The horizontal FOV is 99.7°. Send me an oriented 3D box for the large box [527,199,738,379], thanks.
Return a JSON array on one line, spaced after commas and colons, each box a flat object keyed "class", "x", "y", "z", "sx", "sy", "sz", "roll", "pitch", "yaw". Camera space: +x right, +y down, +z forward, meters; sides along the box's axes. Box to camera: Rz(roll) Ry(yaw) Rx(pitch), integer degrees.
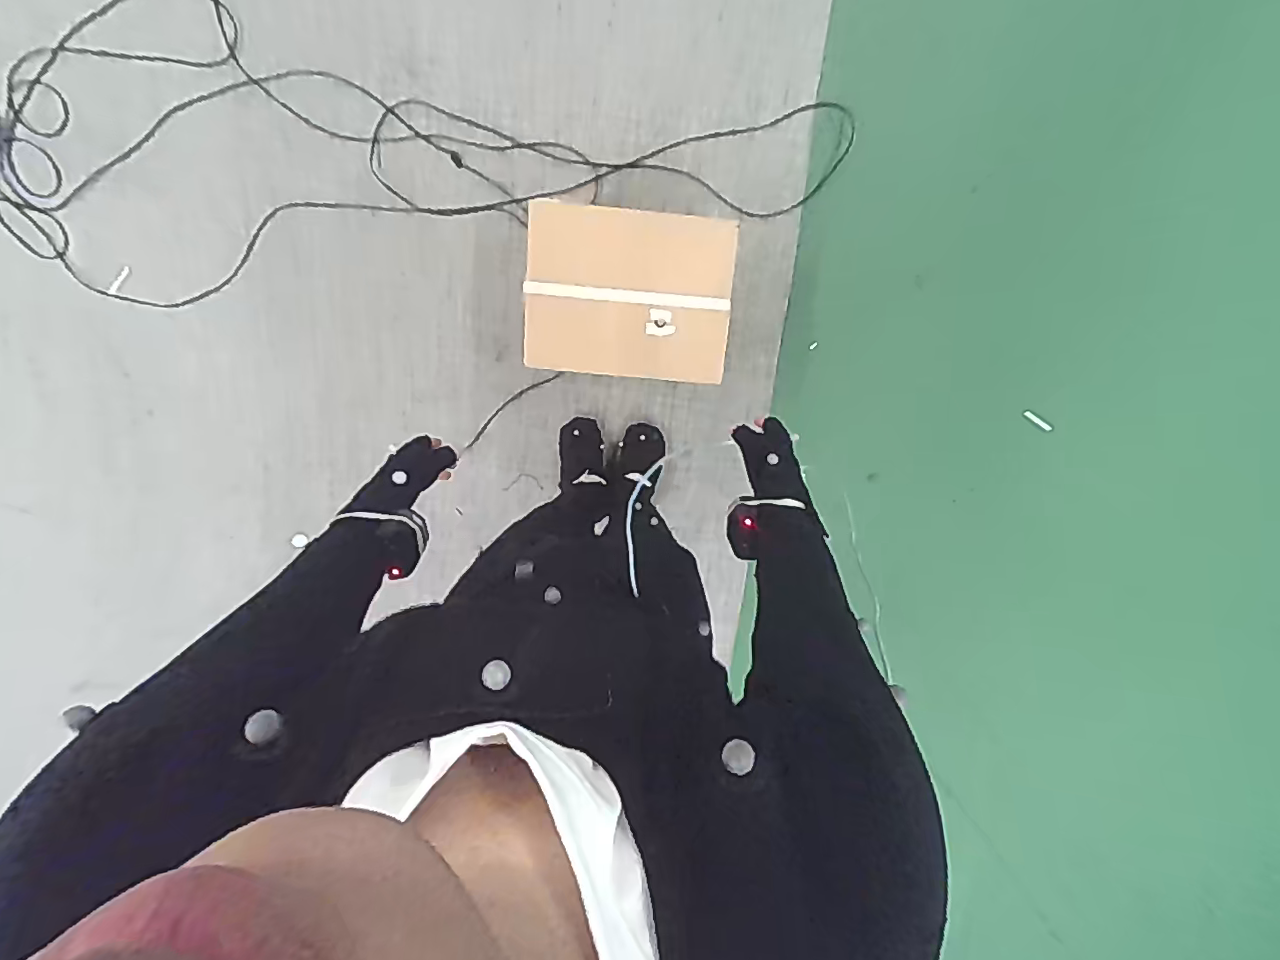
[{"class": "large box", "x": -0.026, "y": -0.402, "z": 1.203, "sx": 0.408, "sy": 0.320, "sz": 0.320, "roll": 5, "pitch": 104, "yaw": -3}]
